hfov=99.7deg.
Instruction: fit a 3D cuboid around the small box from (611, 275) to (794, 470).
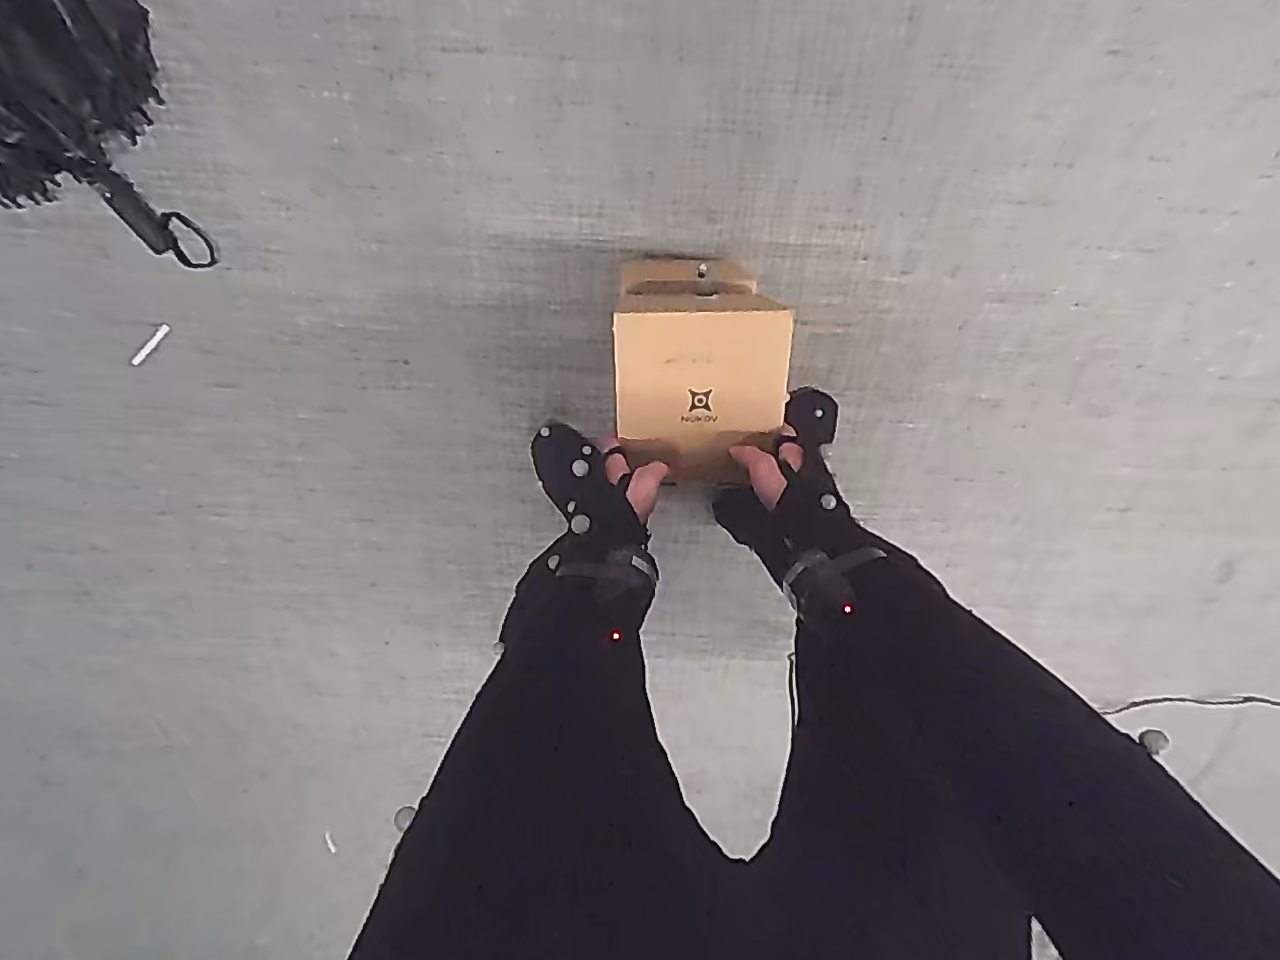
[{"bbox_3d":[0.059,-0.122,0.584,0.168,0.176,0.179,-1,114,2],"label":"small box"}]
